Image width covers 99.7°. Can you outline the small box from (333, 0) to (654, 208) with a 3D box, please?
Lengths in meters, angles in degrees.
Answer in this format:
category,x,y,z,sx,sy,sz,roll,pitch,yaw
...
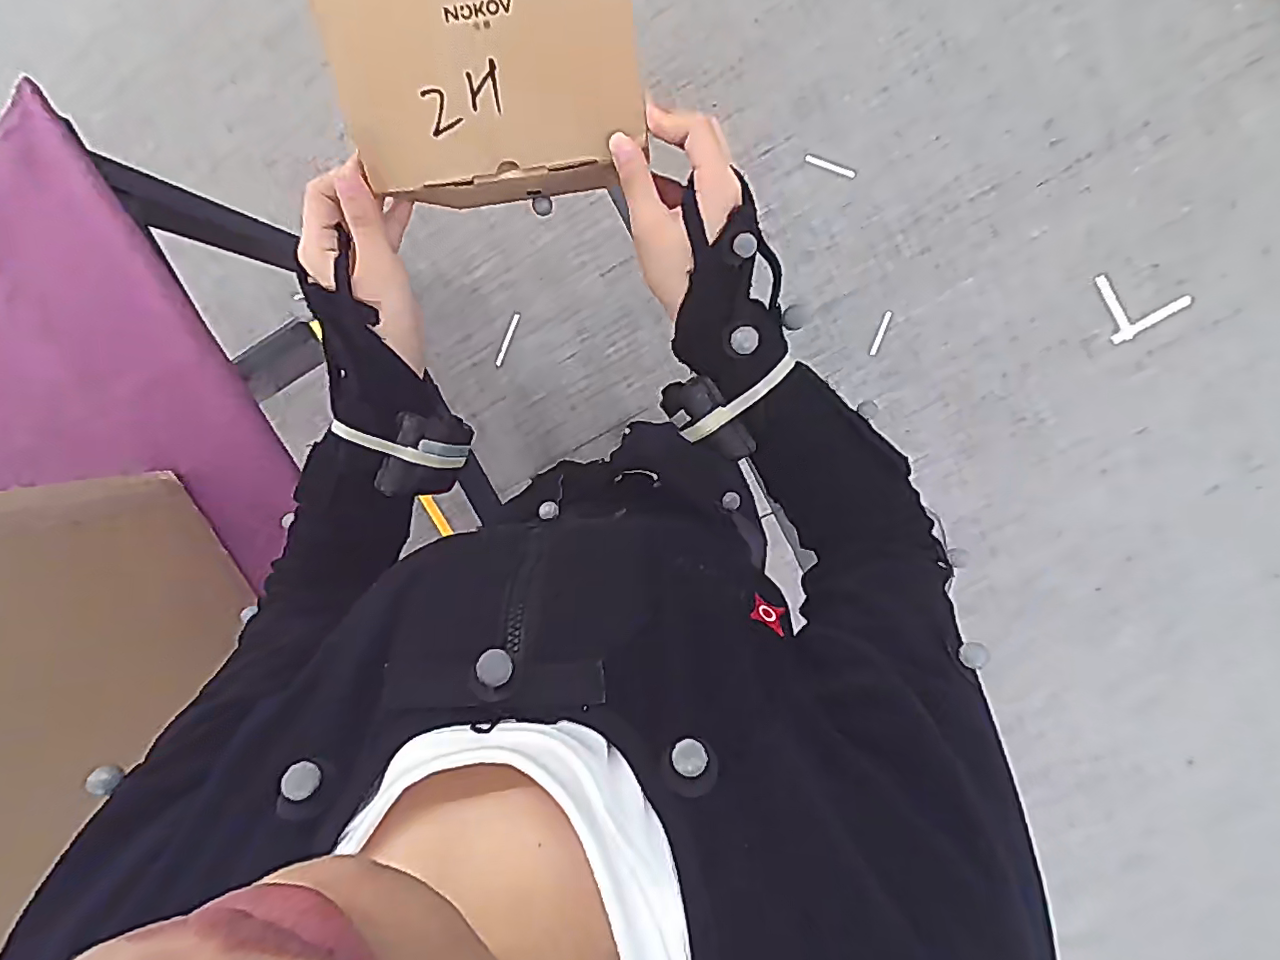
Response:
category,x,y,z,sx,sy,sz,roll,pitch,yaw
small box,-0.083,-0.292,0.360,0.168,0.176,0.179,-6,114,3
